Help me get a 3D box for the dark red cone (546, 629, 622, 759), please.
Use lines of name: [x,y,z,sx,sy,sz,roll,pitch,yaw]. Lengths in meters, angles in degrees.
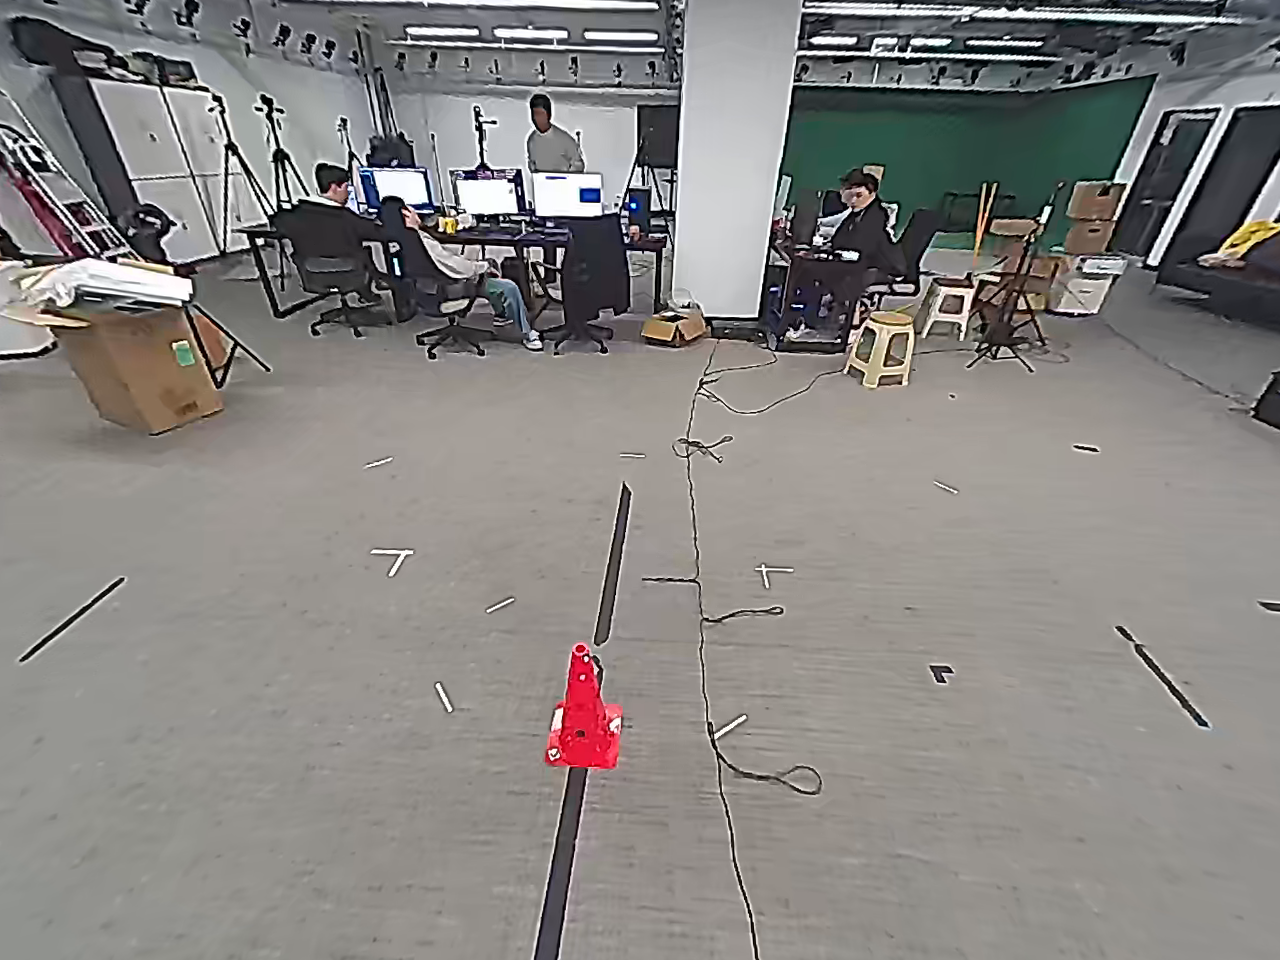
dark red cone: [-0.147,0.554,1.449,0.201,0.394,0.202,4,31,1]
